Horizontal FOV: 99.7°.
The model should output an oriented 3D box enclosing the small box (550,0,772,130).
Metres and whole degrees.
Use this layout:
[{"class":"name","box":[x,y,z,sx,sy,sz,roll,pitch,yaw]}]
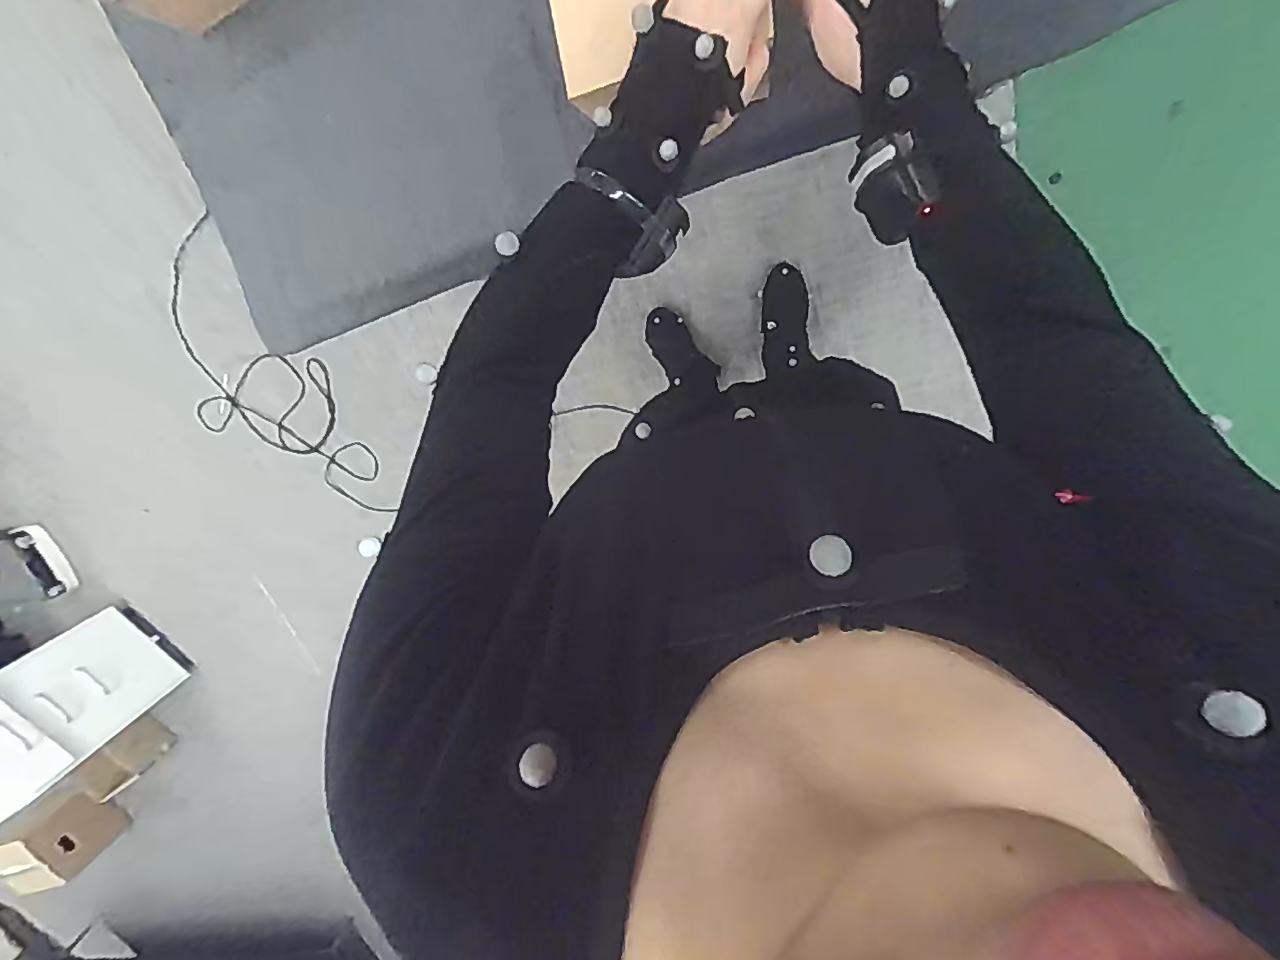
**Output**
[{"class":"small box","box":[0.024,-0.440,0.487,0.179,0.176,0.168,-6,112,14]}]
